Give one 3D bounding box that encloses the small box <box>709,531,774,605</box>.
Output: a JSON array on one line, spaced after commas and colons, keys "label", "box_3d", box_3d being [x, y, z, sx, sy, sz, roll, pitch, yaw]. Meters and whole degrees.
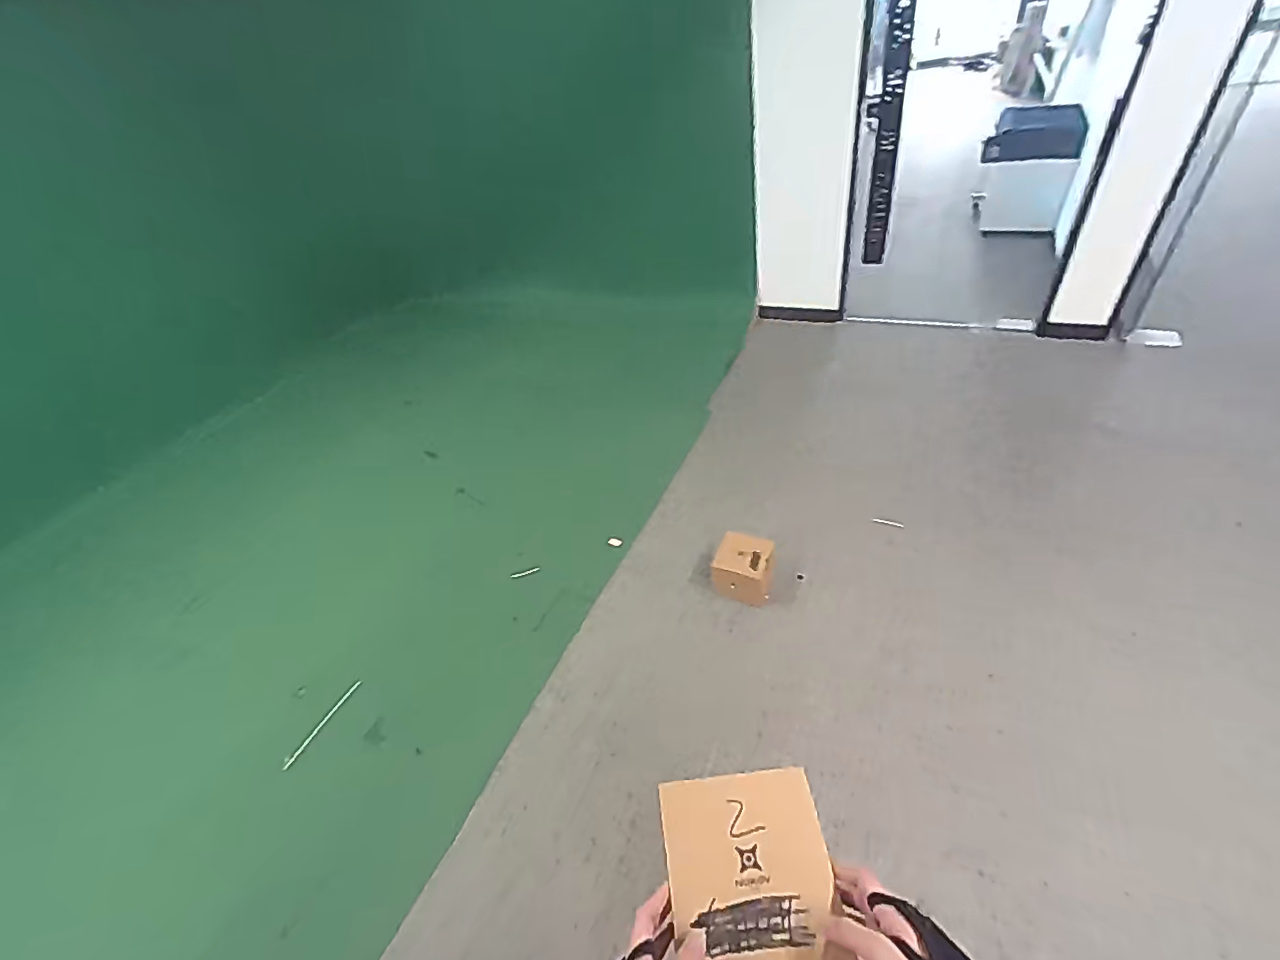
[{"label": "small box", "box_3d": [0.354, 0.306, 1.866, 0.179, 0.176, 0.168, 12, 48, 26]}]
